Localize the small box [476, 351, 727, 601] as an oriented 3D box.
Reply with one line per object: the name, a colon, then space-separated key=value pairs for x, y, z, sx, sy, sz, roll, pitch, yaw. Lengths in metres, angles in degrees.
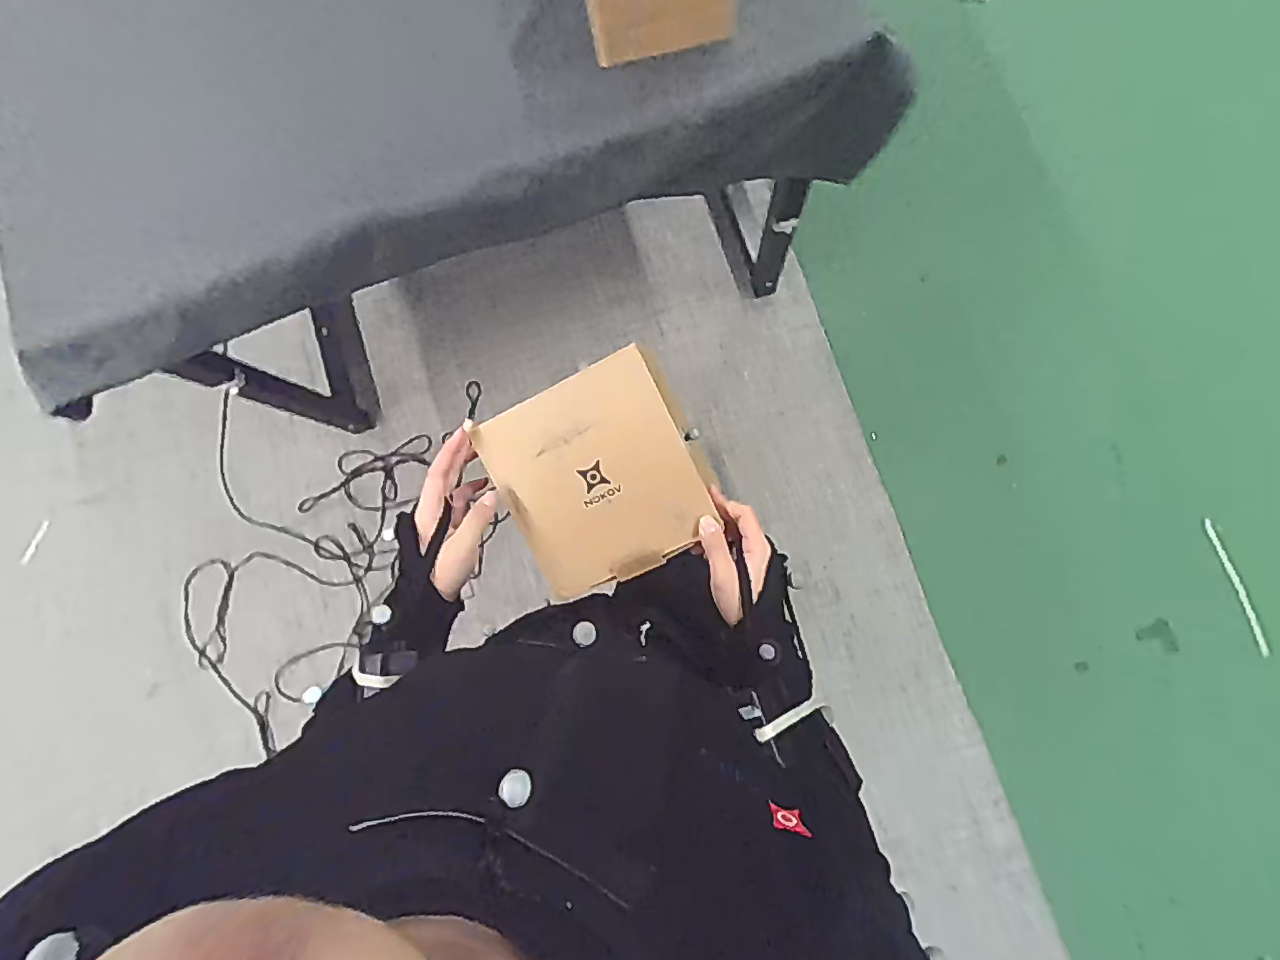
small box: x=-0.024 y=-0.014 z=0.537 sx=0.168 sy=0.176 sz=0.179 roll=-25 pitch=98 yaw=10

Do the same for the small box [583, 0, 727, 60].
small box: x=0.007 y=-0.638 z=0.627 sx=0.179 sy=0.176 sz=0.168 roll=-12 pitch=82 yaw=3
